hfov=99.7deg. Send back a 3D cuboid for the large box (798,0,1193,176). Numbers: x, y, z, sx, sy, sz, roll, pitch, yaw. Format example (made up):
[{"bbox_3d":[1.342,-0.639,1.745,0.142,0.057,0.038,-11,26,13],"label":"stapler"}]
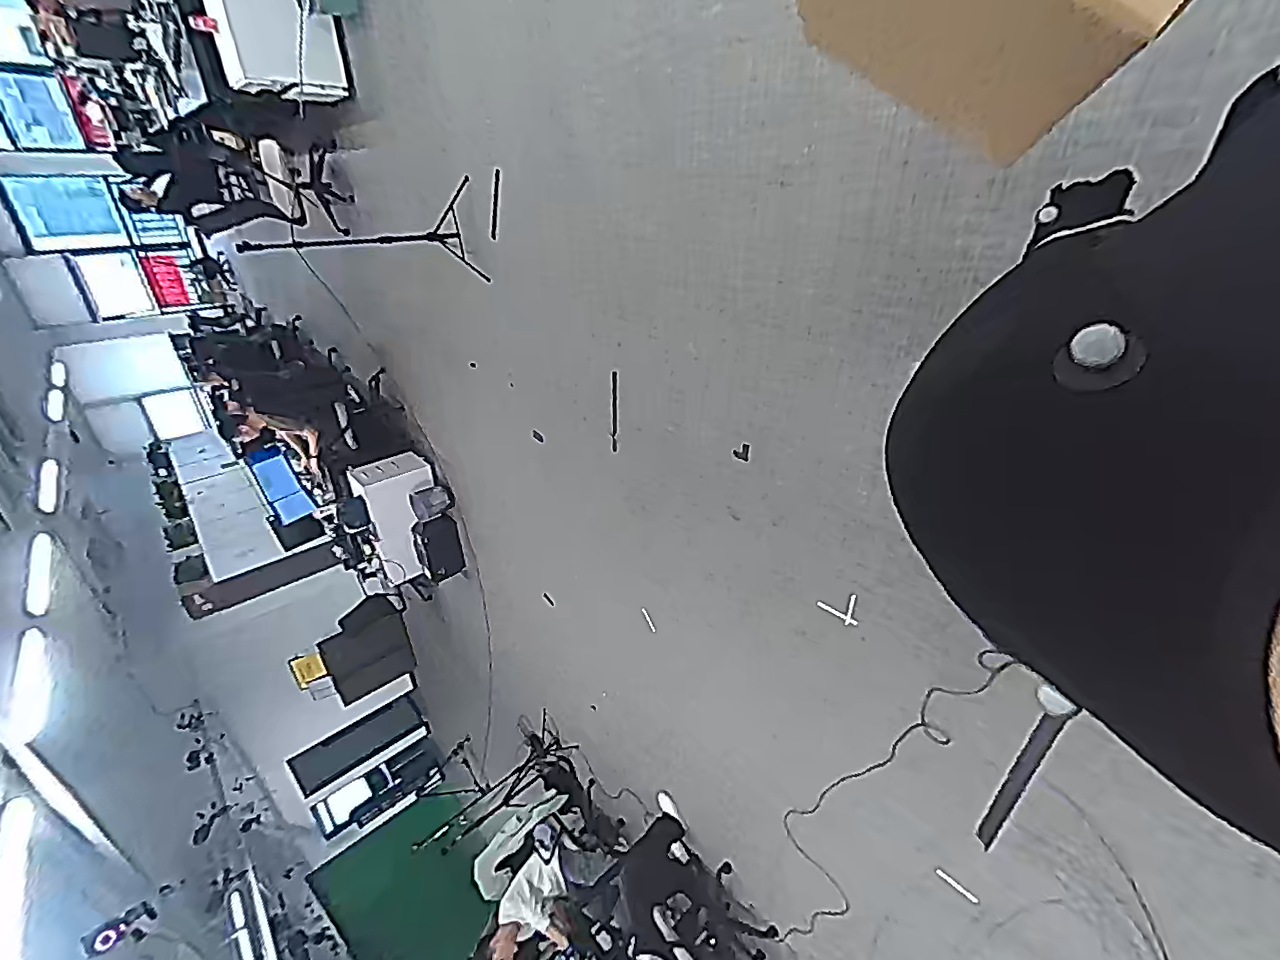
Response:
[{"bbox_3d":[0.349,-0.534,0.473,0.320,0.408,0.320,39,117,6],"label":"large box"}]
